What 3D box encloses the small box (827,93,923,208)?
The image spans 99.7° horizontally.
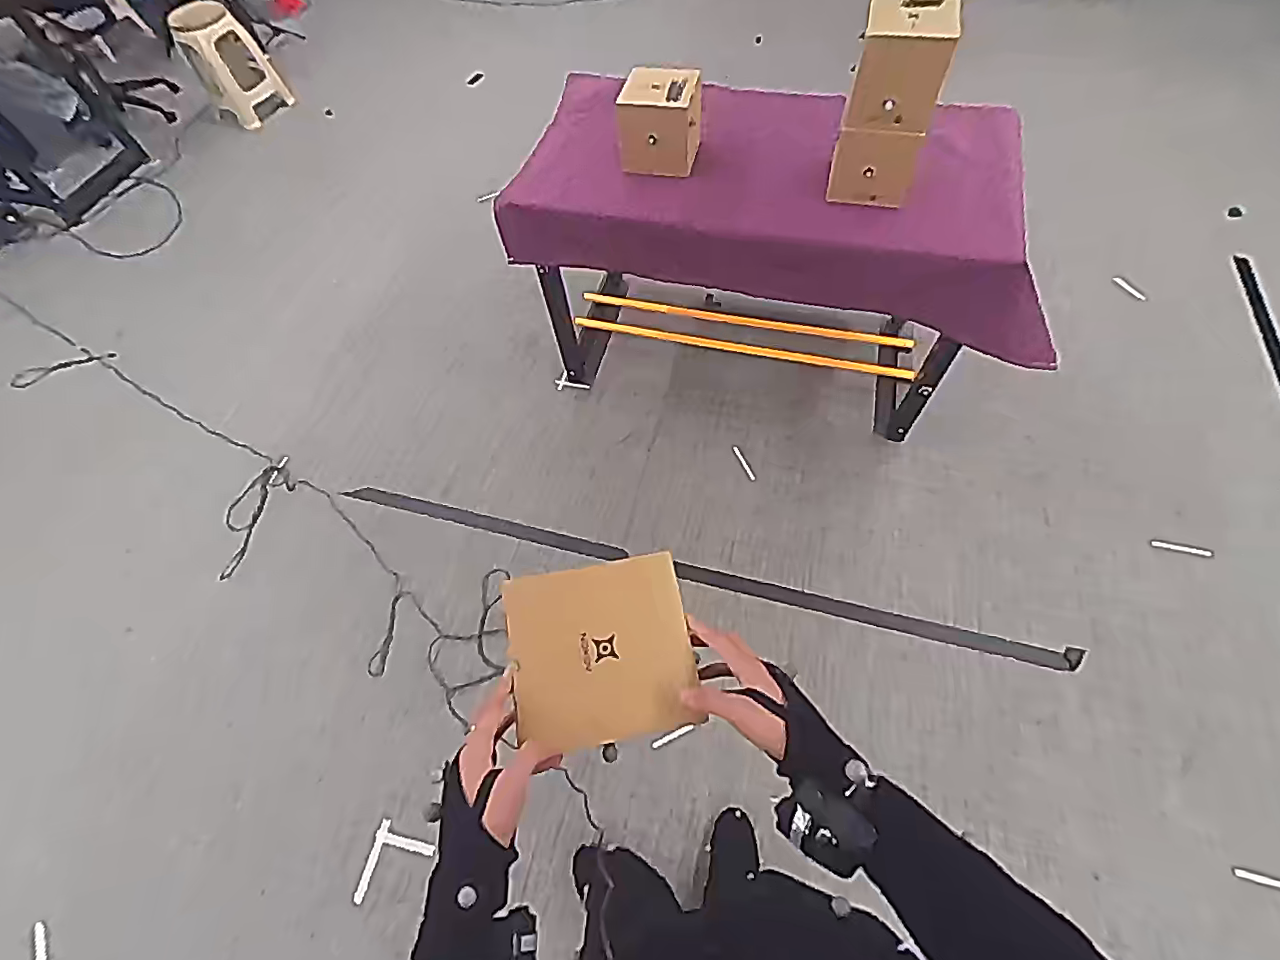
[{"bbox_3d":[0.537,-0.756,1.241,0.168,0.176,0.179,12,63,10],"label":"small box"}]

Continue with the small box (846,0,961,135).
[{"bbox_3d":[0.529,-0.842,1.102,0.168,0.176,0.179,12,63,11],"label":"small box"}]

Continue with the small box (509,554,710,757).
[{"bbox_3d":[-0.035,0.192,0.595,0.179,0.176,0.168,-10,68,-4],"label":"small box"}]
